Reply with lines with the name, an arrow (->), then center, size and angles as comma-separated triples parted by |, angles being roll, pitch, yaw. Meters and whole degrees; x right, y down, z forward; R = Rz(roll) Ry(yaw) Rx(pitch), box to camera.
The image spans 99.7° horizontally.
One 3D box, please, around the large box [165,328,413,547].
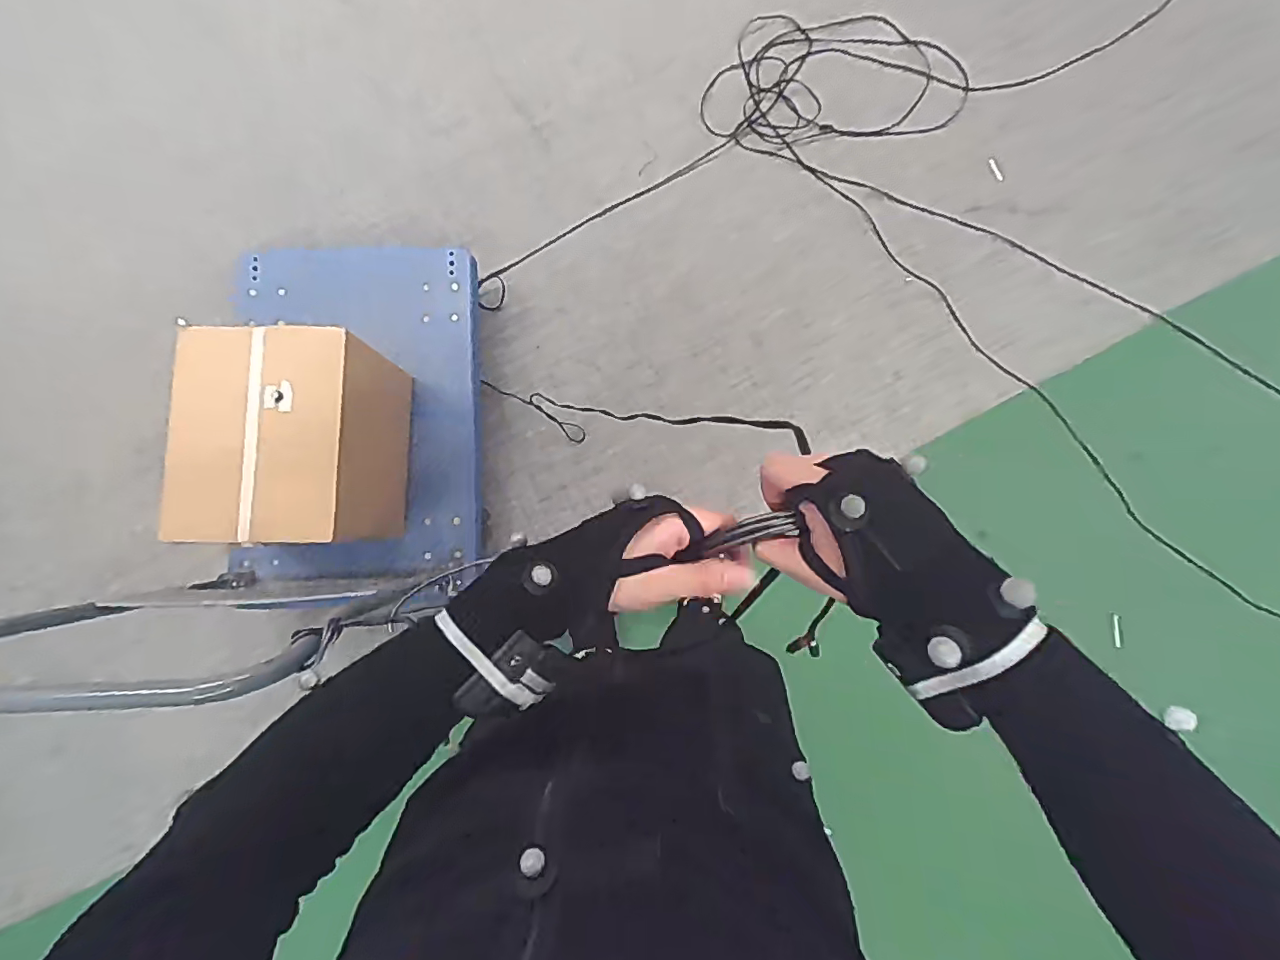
large box -> -0.692, -0.066, 1.128 | 0.320, 0.320, 0.408 | 1, 83, -1
